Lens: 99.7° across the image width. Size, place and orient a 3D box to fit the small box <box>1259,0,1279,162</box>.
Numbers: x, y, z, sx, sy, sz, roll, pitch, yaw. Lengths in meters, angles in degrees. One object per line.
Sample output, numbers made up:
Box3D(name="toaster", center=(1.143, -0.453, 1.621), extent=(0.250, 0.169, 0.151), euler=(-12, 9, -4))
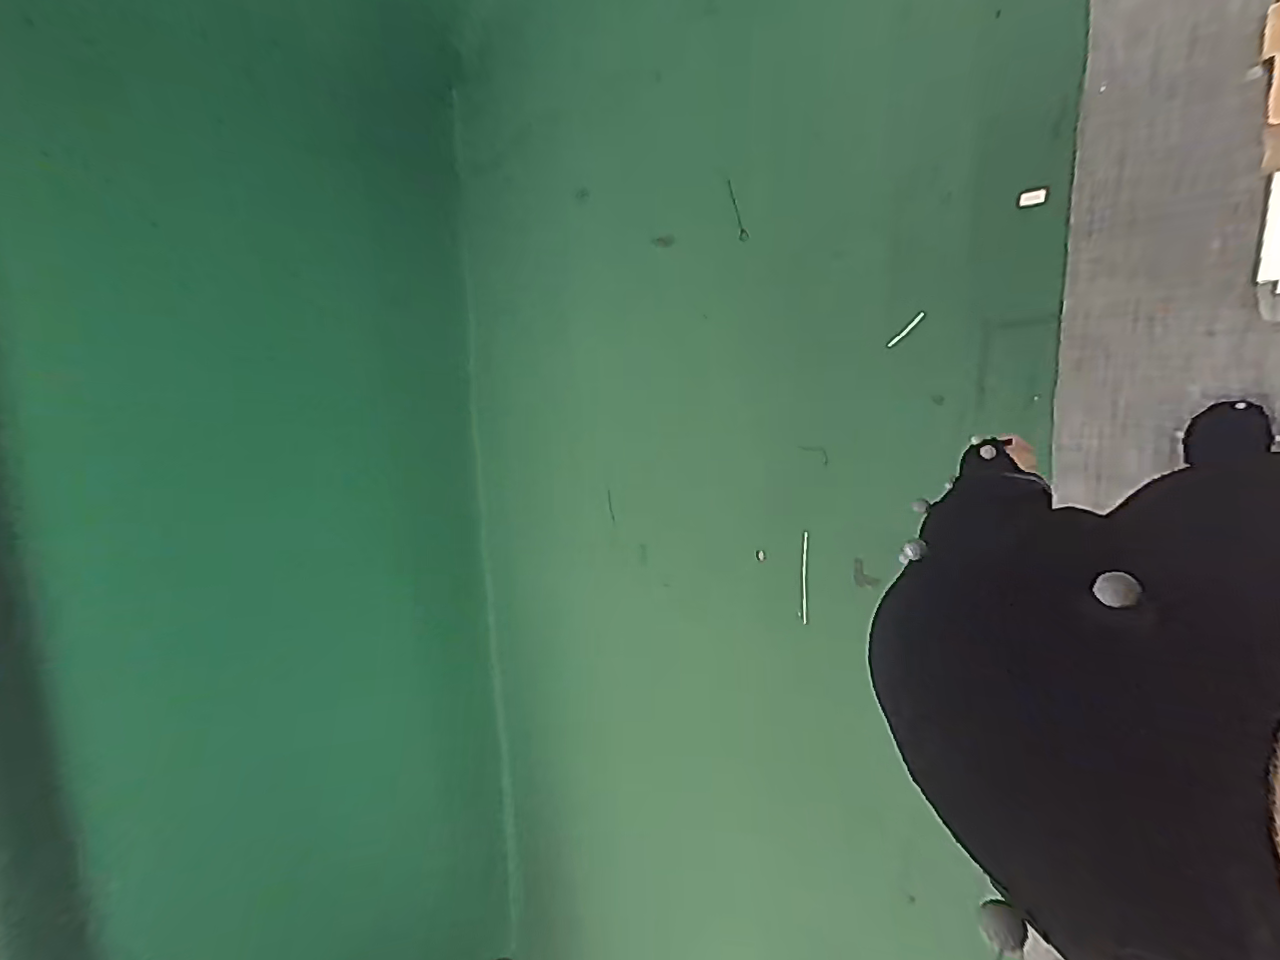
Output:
Box3D(name="small box", center=(0.680, -0.406, 0.468), extent=(0.179, 0.176, 0.168), euler=(7, 102, 48))
